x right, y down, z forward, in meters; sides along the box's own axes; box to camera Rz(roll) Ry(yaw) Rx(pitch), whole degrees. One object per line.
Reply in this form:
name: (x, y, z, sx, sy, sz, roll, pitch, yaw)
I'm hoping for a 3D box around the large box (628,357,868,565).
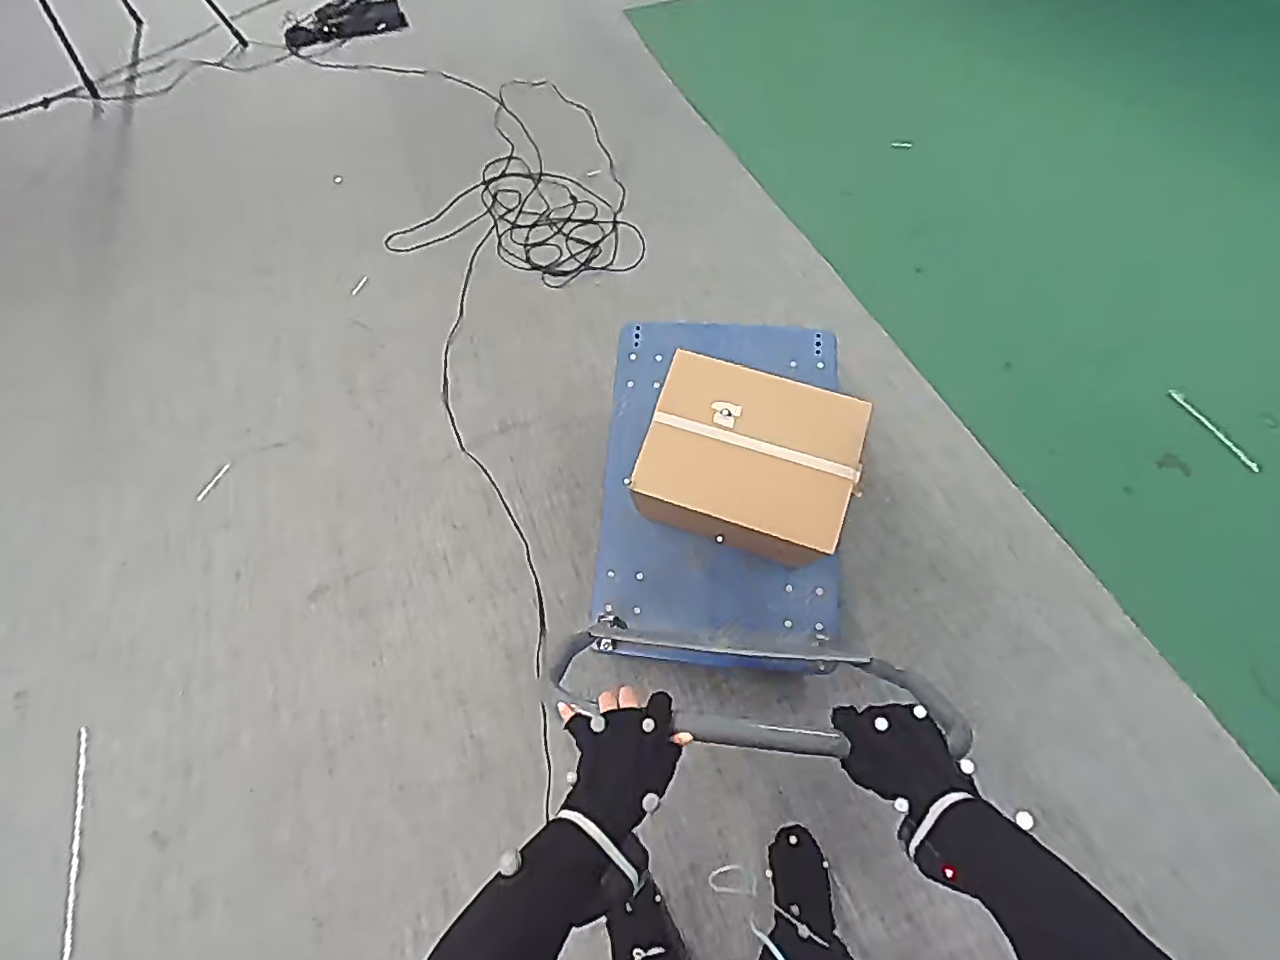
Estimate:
large box: (0.226, -0.024, 1.194, 0.408, 0.320, 0.320, 18, 78, 9)
